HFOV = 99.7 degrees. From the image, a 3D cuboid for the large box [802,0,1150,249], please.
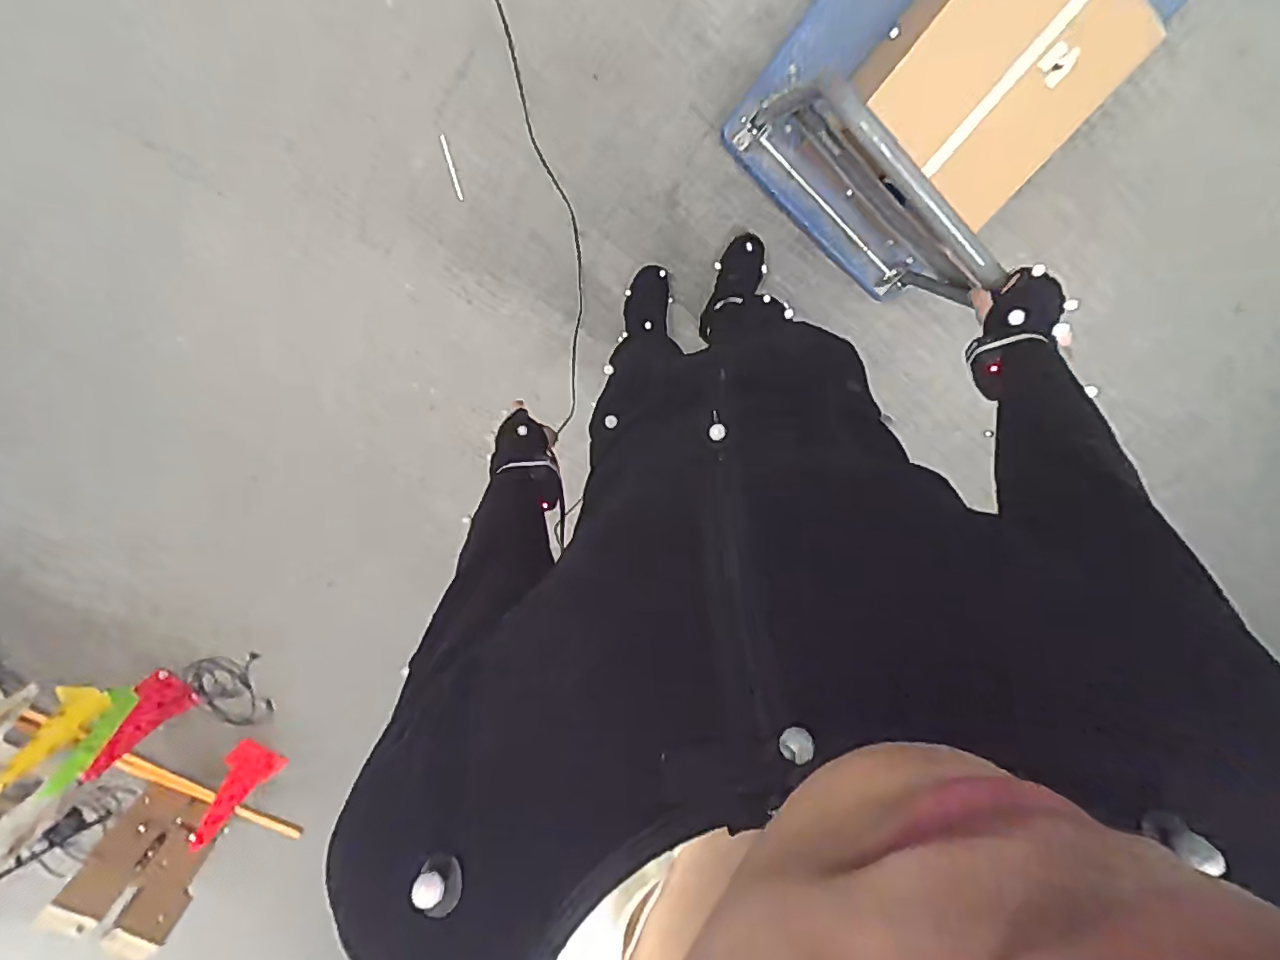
[{"bbox_3d":[0.591,-0.712,1.038,0.320,0.320,0.408,35,109,-16],"label":"large box"}]
